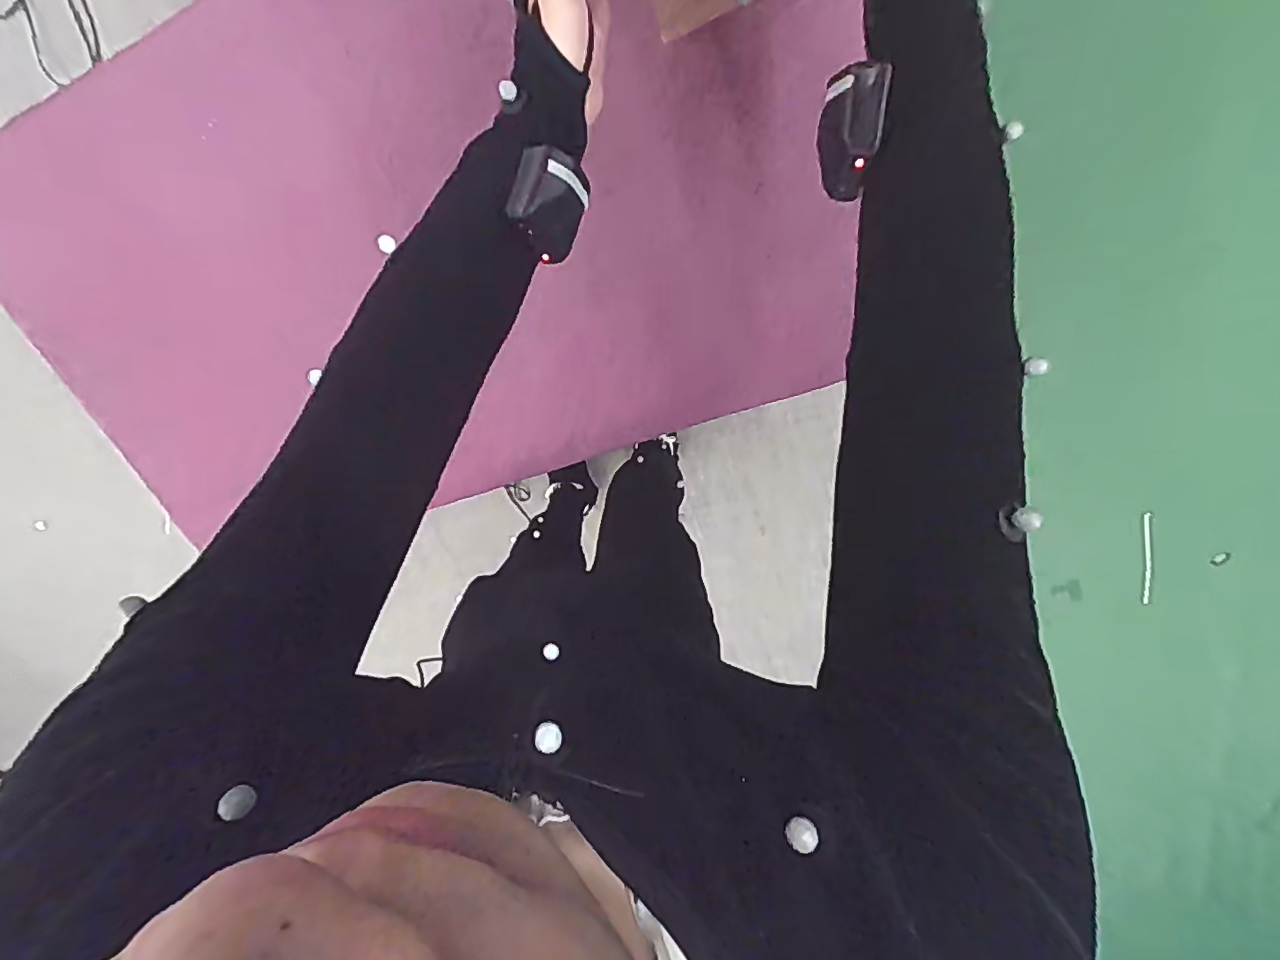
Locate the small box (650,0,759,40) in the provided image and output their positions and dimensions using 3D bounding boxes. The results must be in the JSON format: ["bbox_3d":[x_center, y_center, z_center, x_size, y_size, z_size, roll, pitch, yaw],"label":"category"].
[{"bbox_3d":[0.061,-0.508,0.432,0.168,0.176,0.179,-16,113,15],"label":"small box"}]
